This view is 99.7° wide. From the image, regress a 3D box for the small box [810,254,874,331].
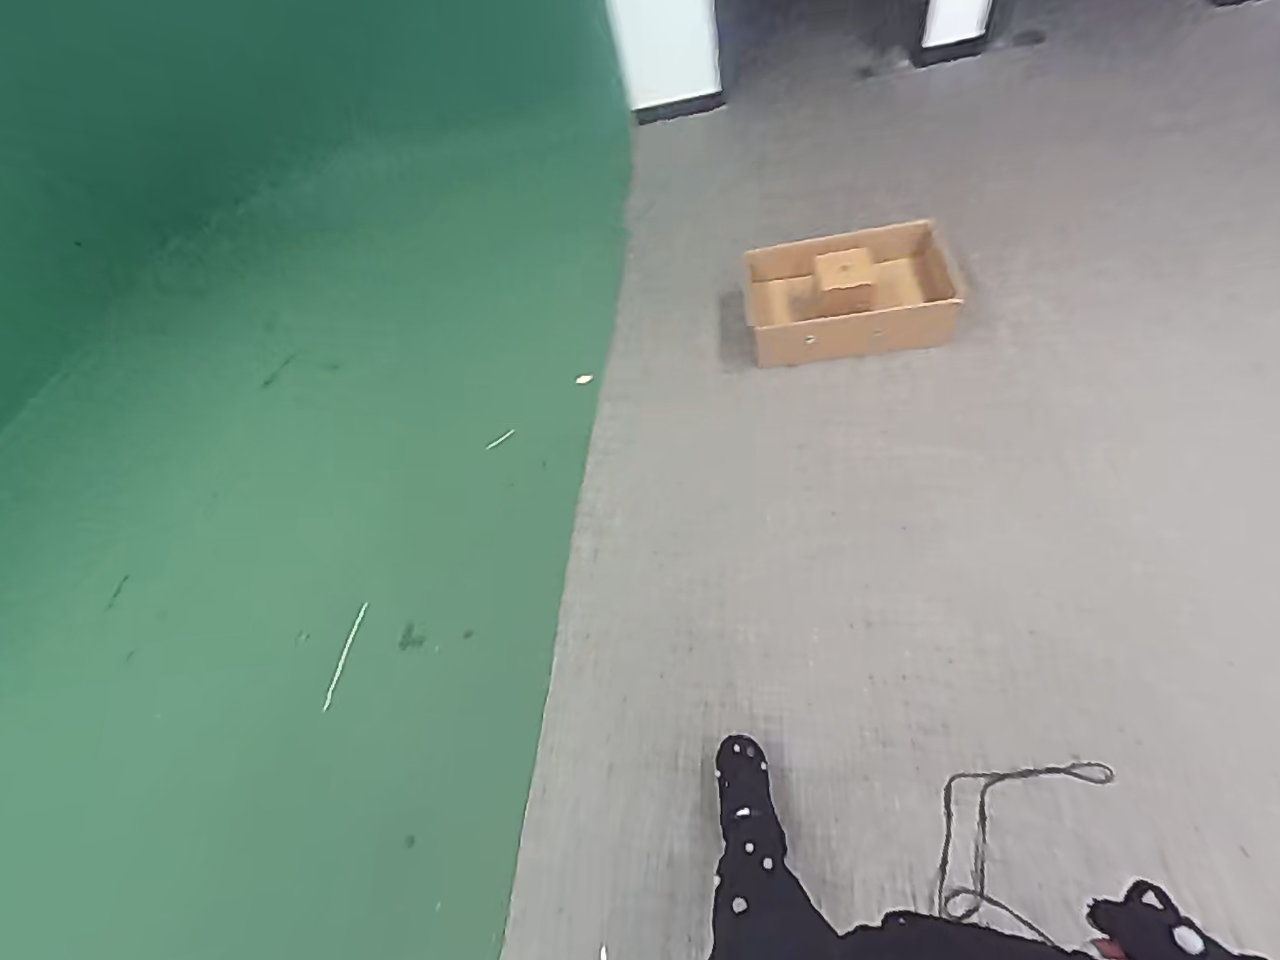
[{"bbox_3d":[0.659,-0.609,1.781,0.168,0.176,0.179,-5,55,11],"label":"small box"}]
